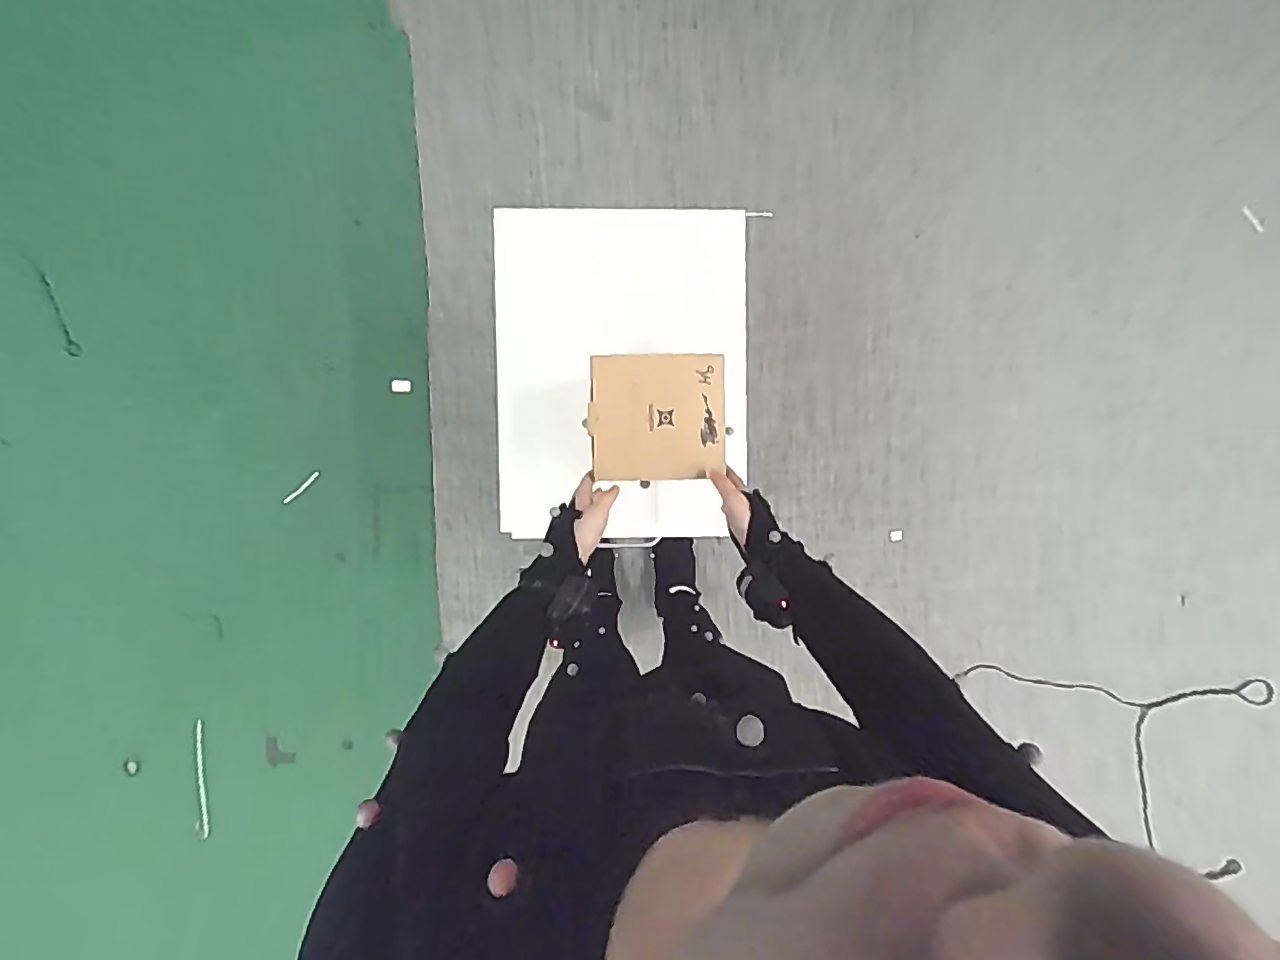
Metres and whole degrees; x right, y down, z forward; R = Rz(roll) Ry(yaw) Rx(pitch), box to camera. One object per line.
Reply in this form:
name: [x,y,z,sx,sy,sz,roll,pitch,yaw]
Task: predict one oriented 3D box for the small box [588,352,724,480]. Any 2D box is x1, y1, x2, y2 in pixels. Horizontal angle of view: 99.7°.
small box: [0.020,-0.084,0.774,0.179,0.176,0.168,-1,91,-2]
